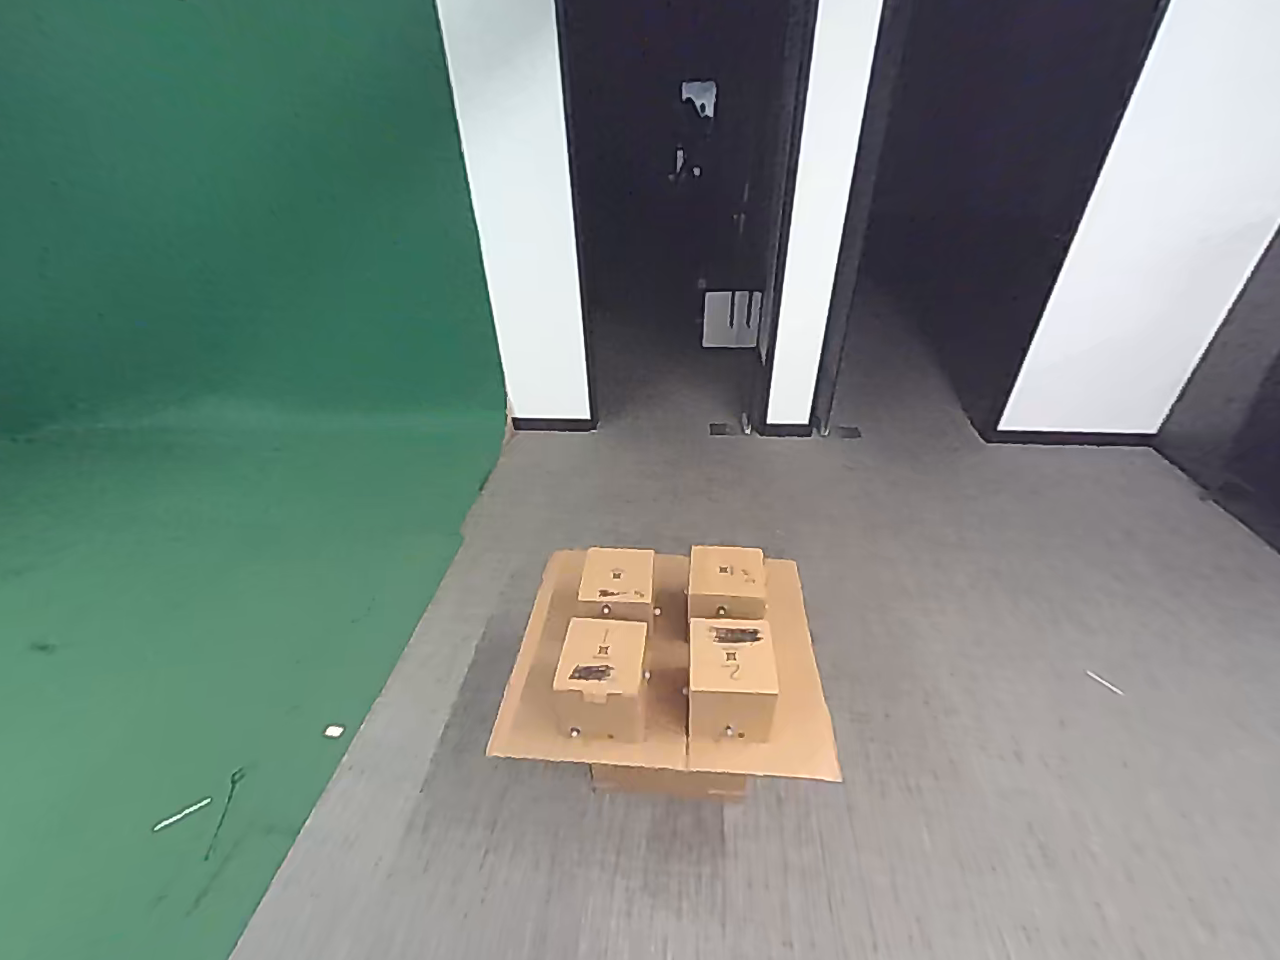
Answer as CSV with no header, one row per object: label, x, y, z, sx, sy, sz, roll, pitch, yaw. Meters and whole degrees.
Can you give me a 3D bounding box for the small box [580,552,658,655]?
small box,-0.043,0.293,1.298,0.168,0.176,0.179,-1,33,5
